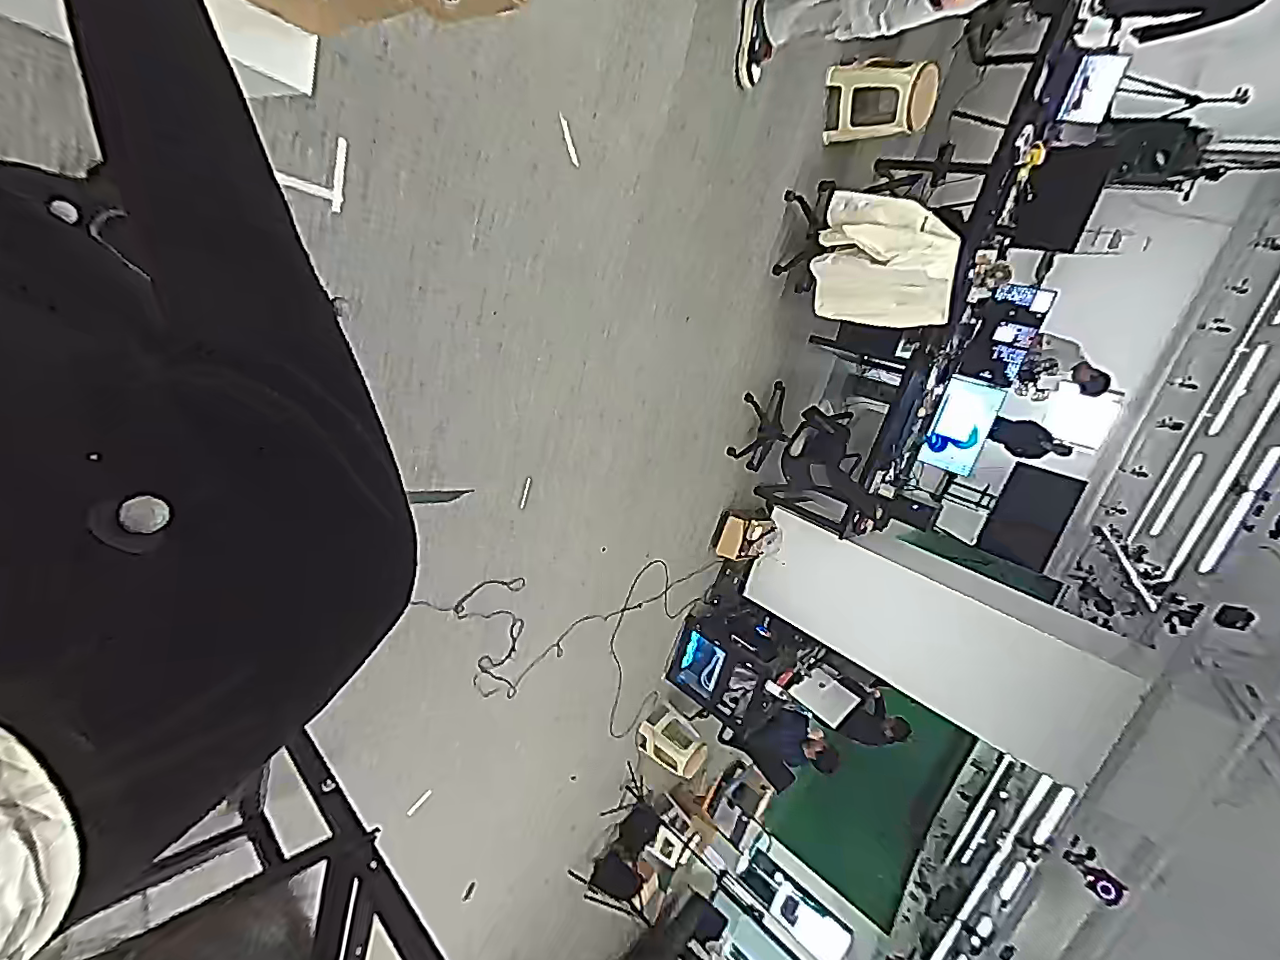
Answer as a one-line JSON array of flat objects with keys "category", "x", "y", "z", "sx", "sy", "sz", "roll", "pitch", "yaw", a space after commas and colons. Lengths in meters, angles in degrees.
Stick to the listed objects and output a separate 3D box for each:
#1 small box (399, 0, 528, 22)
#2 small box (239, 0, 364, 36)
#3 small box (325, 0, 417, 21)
[{"category": "small box", "x": -0.207, "y": -0.565, "z": 0.498, "sx": 0.168, "sy": 0.176, "sz": 0.179, "roll": -12, "pitch": 121, "yaw": -49}, {"category": "small box", "x": -0.452, "y": -0.699, "z": 0.670, "sx": 0.168, "sy": 0.176, "sz": 0.179, "roll": -5, "pitch": 116, "yaw": -50}, {"category": "small box", "x": -0.332, "y": -0.637, "z": 0.576, "sx": 0.168, "sy": 0.176, "sz": 0.179, "roll": -5, "pitch": 116, "yaw": -51}]
